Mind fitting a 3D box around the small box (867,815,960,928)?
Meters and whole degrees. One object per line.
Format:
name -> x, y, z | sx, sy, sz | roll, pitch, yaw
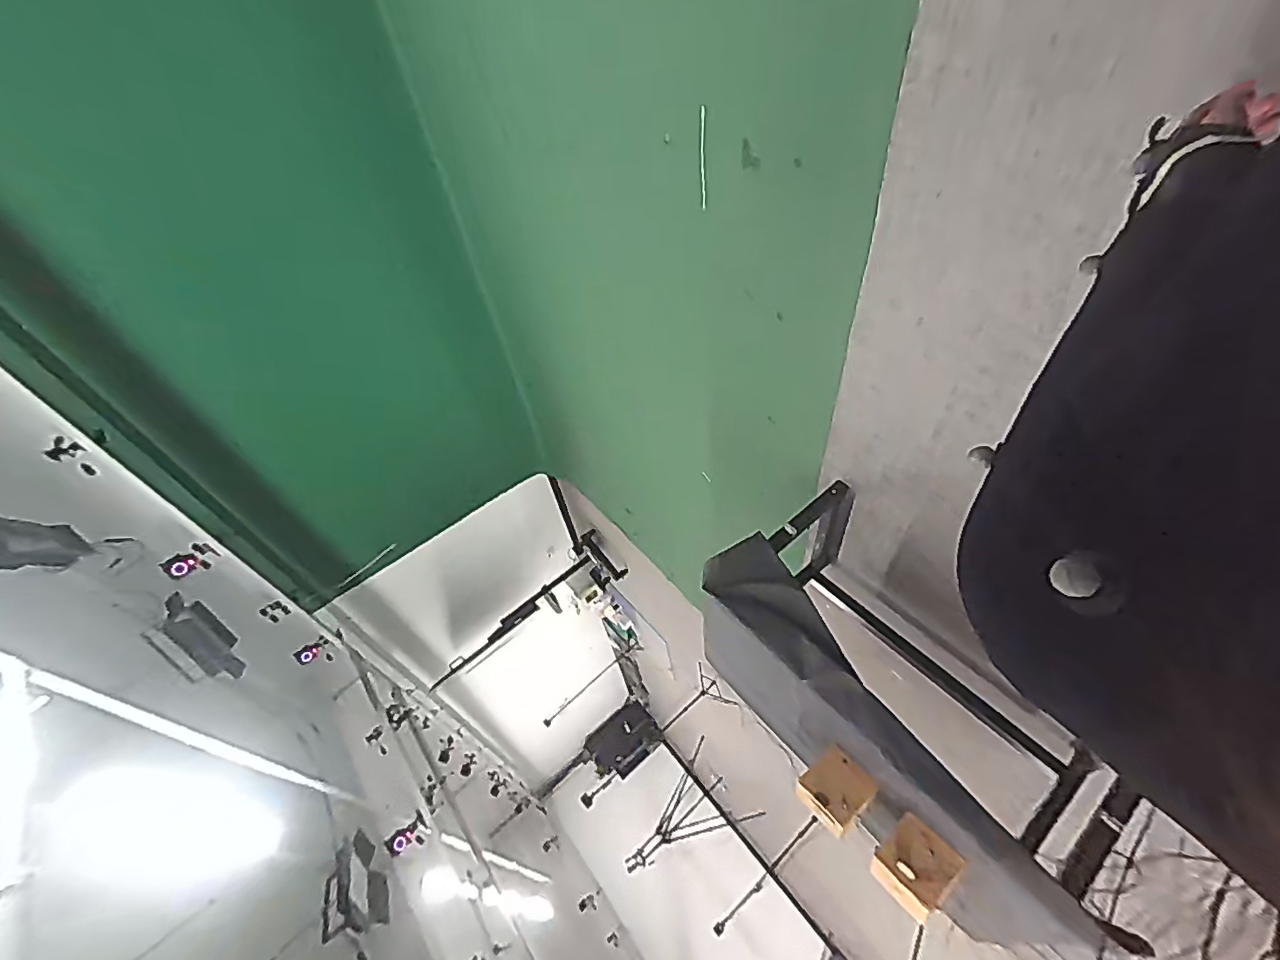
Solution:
small box -> 0.757, 1.082, 1.501 | 0.168, 0.176, 0.179 | 34, 151, 44
